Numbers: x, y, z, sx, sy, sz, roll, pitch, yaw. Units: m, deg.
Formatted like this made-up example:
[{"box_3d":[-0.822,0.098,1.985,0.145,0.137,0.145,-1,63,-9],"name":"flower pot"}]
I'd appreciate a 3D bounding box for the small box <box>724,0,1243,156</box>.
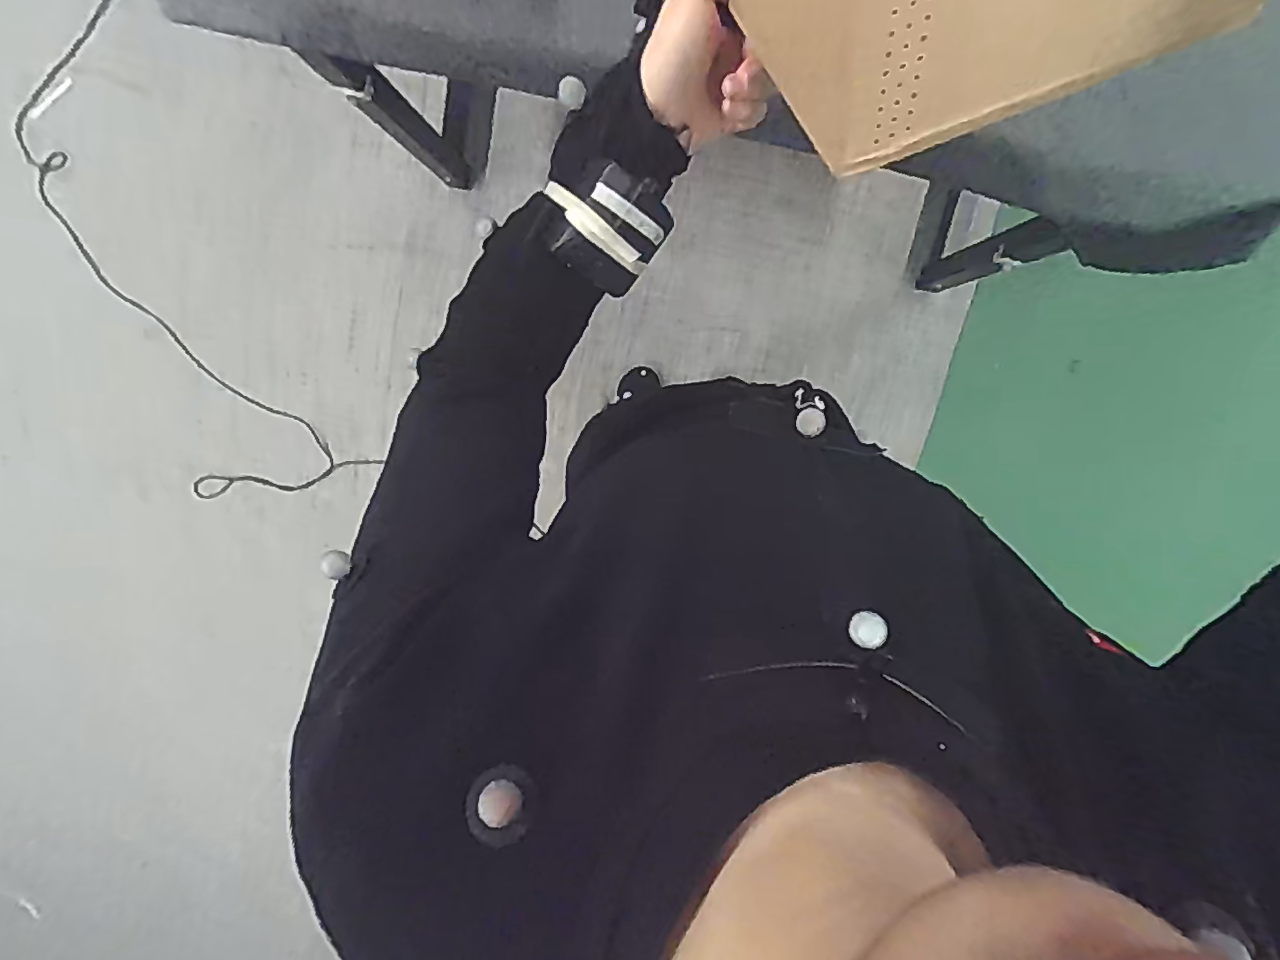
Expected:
[{"box_3d":[0.119,-0.258,0.181,0.176,0.179,0.168,-18,64,7],"name":"small box"}]
